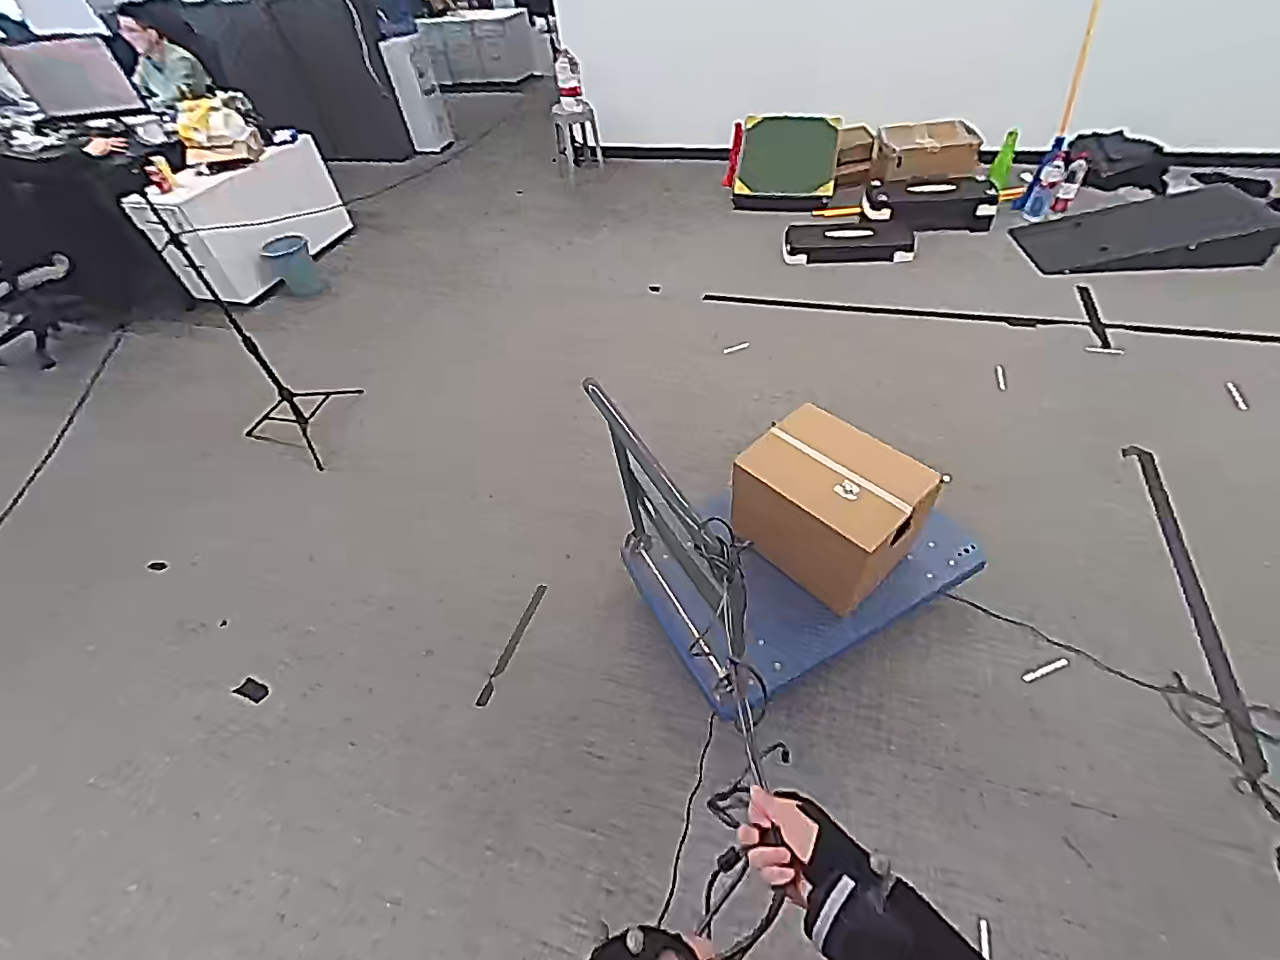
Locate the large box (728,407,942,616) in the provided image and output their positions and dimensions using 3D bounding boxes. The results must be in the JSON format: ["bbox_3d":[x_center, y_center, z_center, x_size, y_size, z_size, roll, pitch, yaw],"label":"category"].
[{"bbox_3d":[0.490,0.077,1.446,0.320,0.320,0.408,-37,55,-22],"label":"large box"}]
